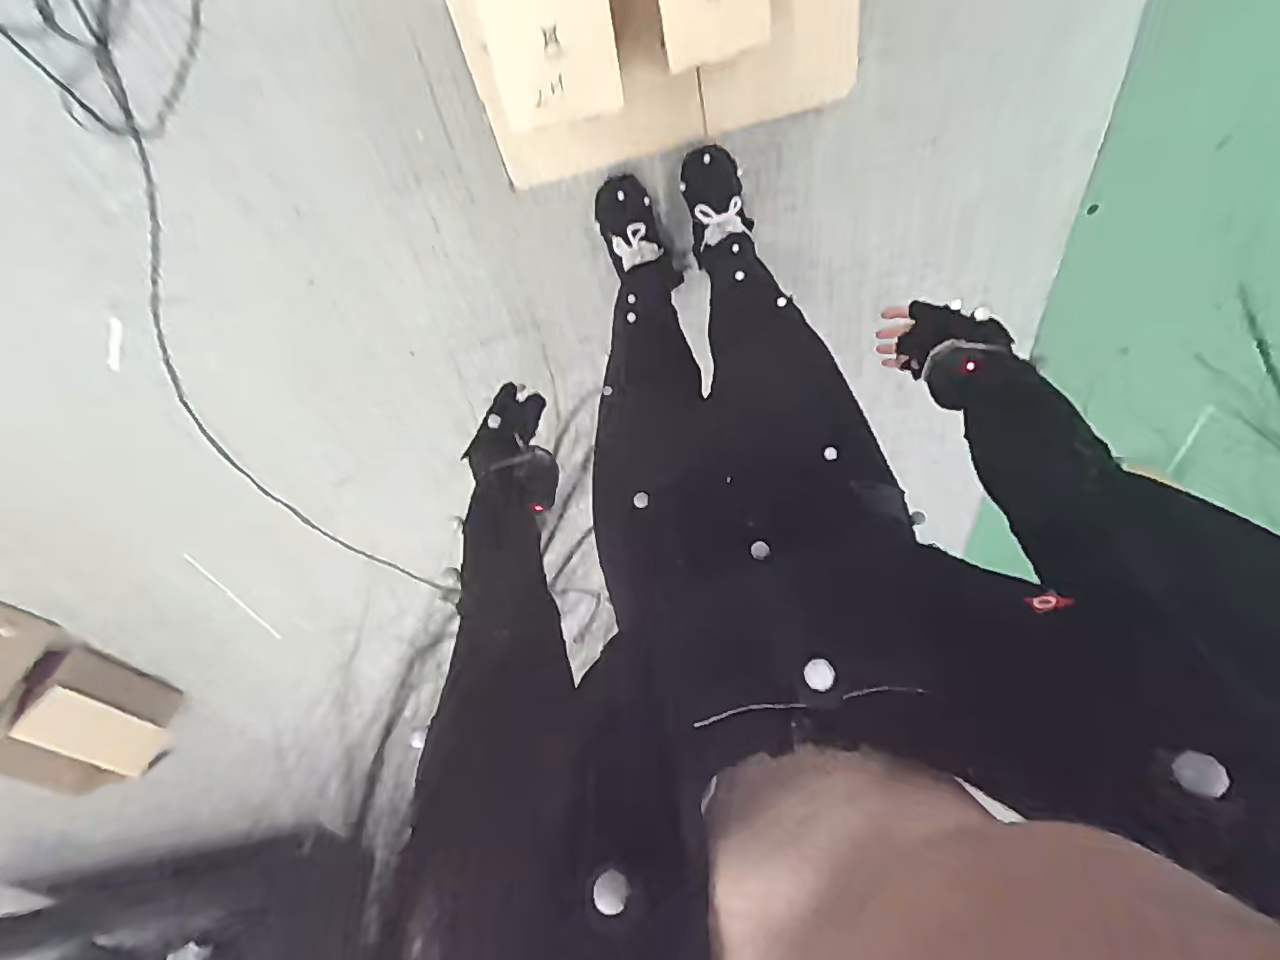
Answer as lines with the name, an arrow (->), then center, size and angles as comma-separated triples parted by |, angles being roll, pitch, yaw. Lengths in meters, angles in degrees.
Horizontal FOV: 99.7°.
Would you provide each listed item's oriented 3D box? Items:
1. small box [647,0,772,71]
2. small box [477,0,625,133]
small box -> 0.100, -0.787, 0.865 | 0.168, 0.176, 0.179 | -15, 131, 5
small box -> -0.121, -0.616, 0.761 | 0.168, 0.176, 0.179 | -11, 131, 3
